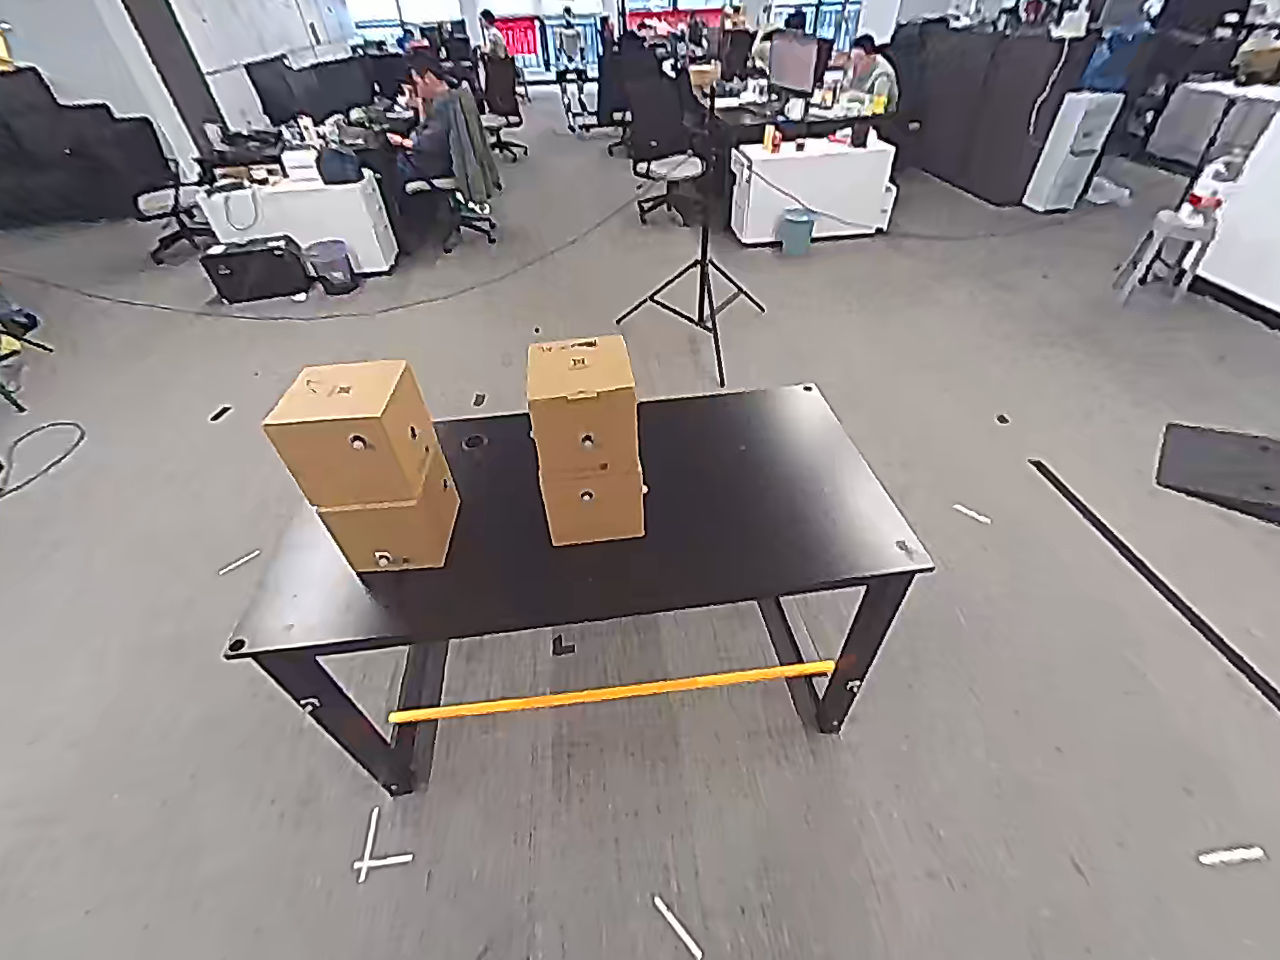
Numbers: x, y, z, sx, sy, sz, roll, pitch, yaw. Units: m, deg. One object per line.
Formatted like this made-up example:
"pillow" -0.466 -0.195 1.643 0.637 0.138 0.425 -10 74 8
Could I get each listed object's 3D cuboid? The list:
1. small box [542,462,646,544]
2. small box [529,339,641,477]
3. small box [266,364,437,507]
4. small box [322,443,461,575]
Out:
"small box" -0.086 0.006 1.031 0.179 0.176 0.168 -6 43 -4
"small box" -0.092 -0.118 0.924 0.168 0.176 0.179 -7 43 -4
"small box" -0.456 -0.072 0.894 0.179 0.176 0.168 -5 42 -1
"small box" -0.444 0.054 1.001 0.168 0.176 0.179 -5 43 -1
